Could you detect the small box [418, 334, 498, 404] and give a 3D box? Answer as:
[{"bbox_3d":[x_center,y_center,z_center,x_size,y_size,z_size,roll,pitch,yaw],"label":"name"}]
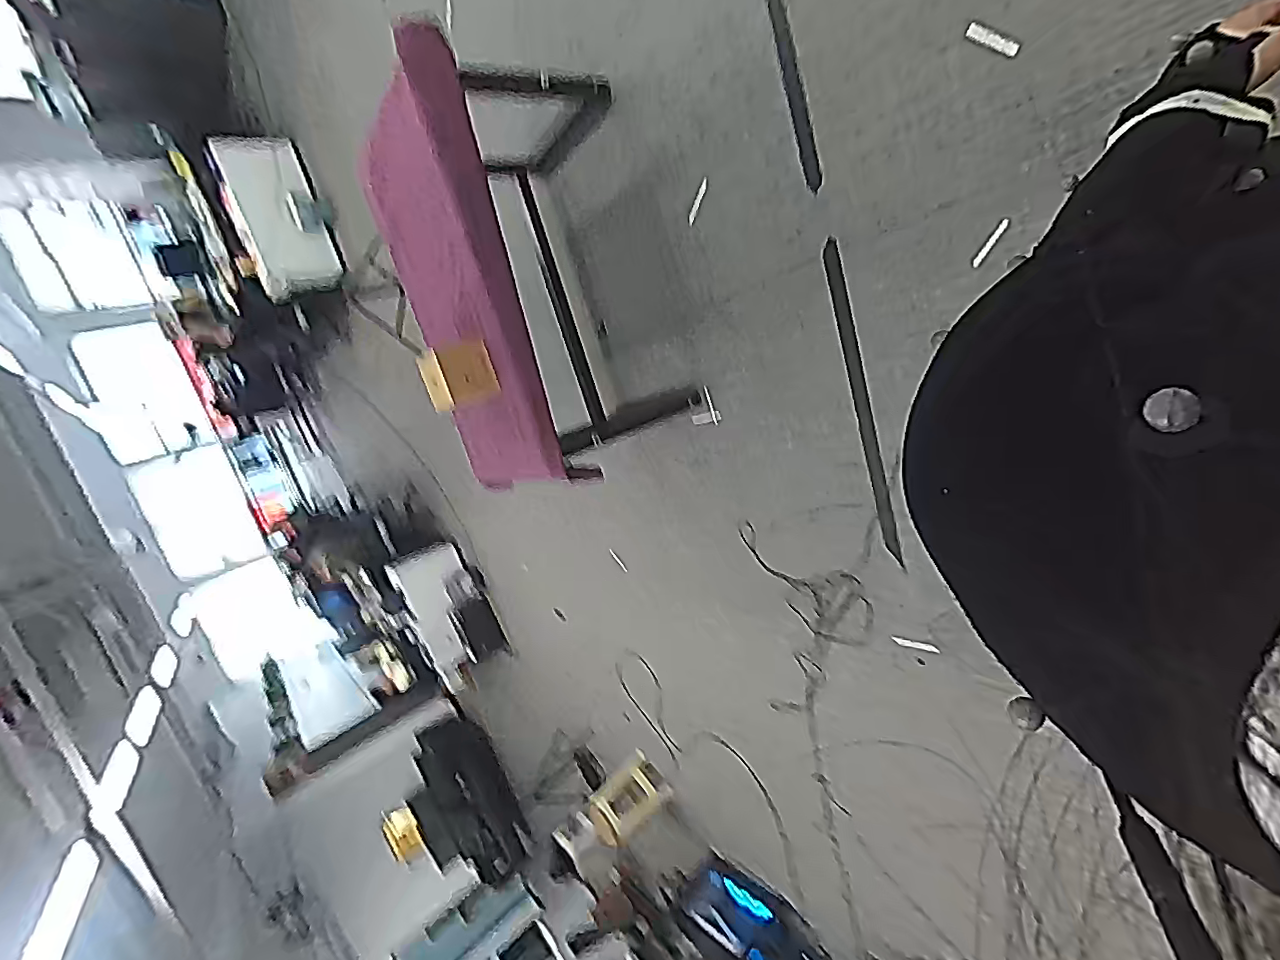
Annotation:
[{"bbox_3d":[-0.572,-0.353,1.716,0.179,0.176,0.168,-3,109,53],"label":"small box"}]
